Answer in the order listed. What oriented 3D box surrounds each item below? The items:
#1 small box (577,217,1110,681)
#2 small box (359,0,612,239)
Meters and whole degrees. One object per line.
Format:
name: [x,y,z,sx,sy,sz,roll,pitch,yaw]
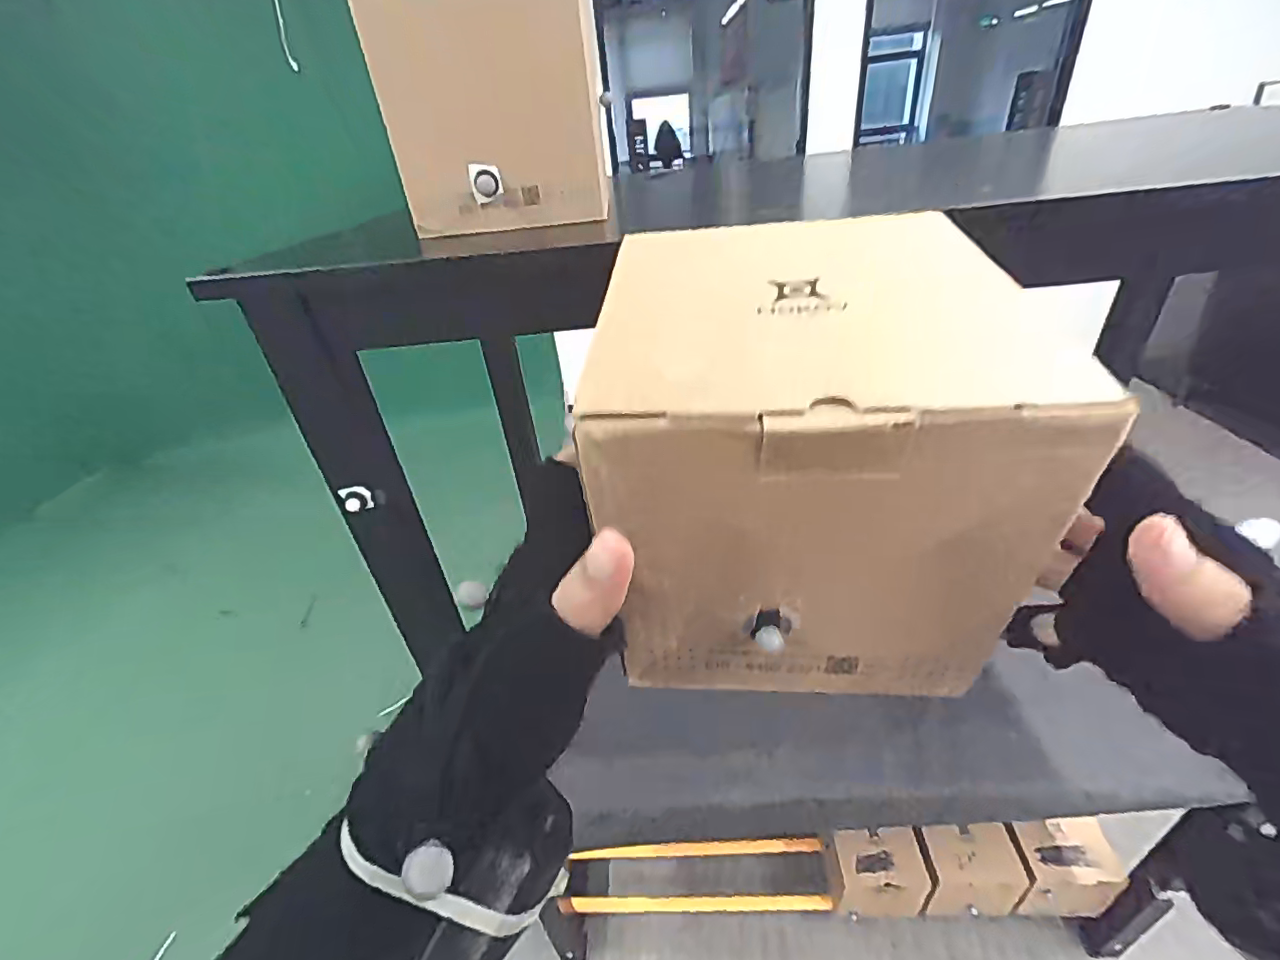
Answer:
small box: [0.073,-0.020,0.283,0.168,0.176,0.179,-2,41,7]
small box: [-0.119,-0.329,0.502,0.168,0.176,0.179,-7,33,1]
